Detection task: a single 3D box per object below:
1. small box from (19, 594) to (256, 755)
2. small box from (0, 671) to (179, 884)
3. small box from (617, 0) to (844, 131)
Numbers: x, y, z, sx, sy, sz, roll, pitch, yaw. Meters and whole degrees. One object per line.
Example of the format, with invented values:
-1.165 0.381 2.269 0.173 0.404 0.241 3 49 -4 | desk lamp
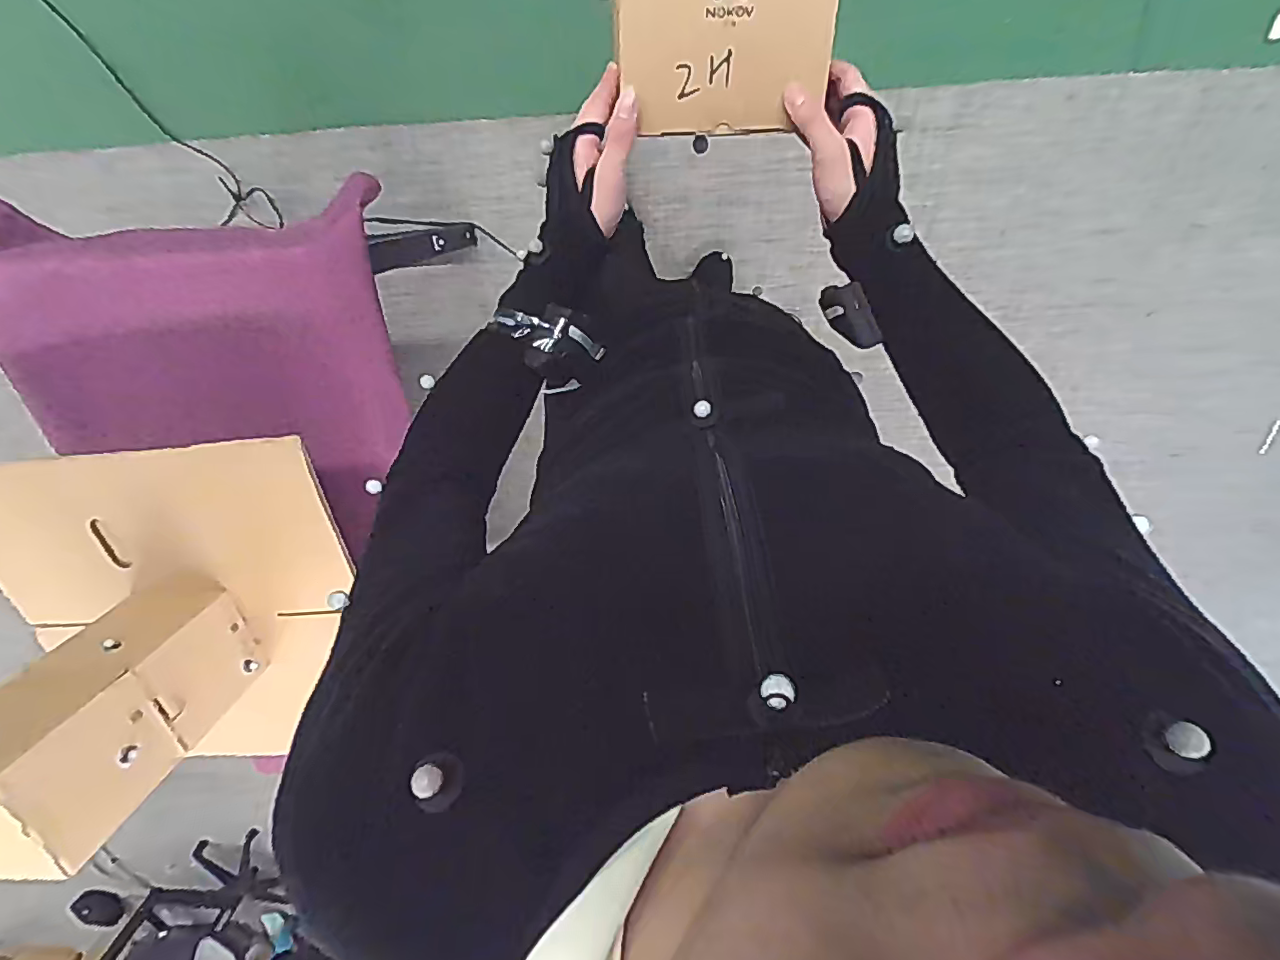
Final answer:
-0.726 0.286 0.813 0.179 0.176 0.168 -4 115 7 | small box
-0.744 0.358 0.669 0.179 0.176 0.168 -5 114 6 | small box
0.065 -0.403 0.459 0.168 0.176 0.179 -2 124 -2 | small box
